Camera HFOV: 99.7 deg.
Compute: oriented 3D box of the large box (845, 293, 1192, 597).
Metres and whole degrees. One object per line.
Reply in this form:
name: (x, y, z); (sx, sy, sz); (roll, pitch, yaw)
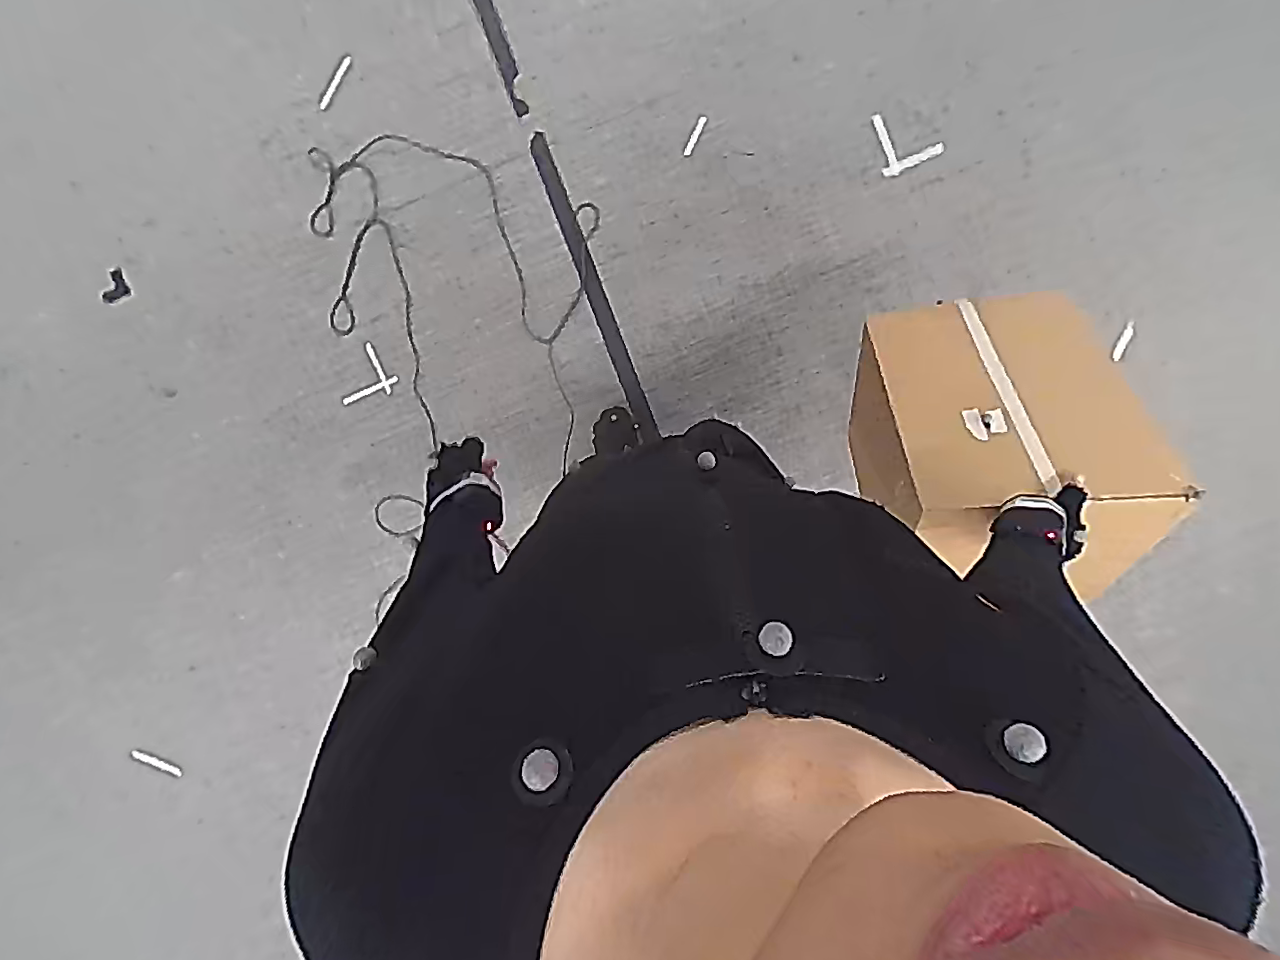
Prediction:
large box: (0.561, -0.050, 0.919); (0.320, 0.320, 0.408); (-6, 55, 11)
